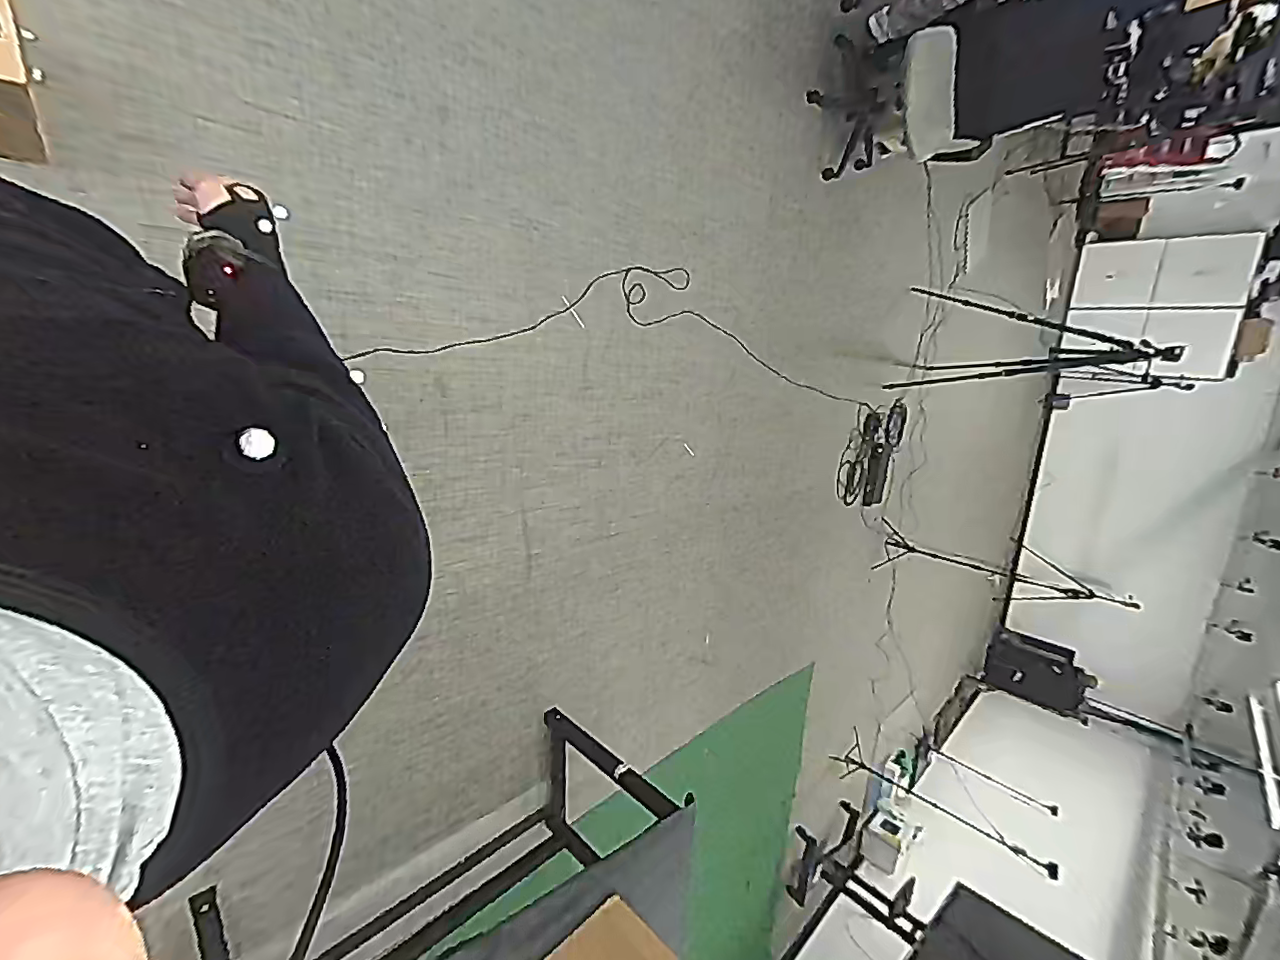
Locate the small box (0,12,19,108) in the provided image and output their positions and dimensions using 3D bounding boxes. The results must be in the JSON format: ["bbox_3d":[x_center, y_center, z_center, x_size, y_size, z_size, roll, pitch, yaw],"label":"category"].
[{"bbox_3d":[-0.898,-0.578,0.645,0.179,0.176,0.168,-12,110,-42],"label":"small box"}]
